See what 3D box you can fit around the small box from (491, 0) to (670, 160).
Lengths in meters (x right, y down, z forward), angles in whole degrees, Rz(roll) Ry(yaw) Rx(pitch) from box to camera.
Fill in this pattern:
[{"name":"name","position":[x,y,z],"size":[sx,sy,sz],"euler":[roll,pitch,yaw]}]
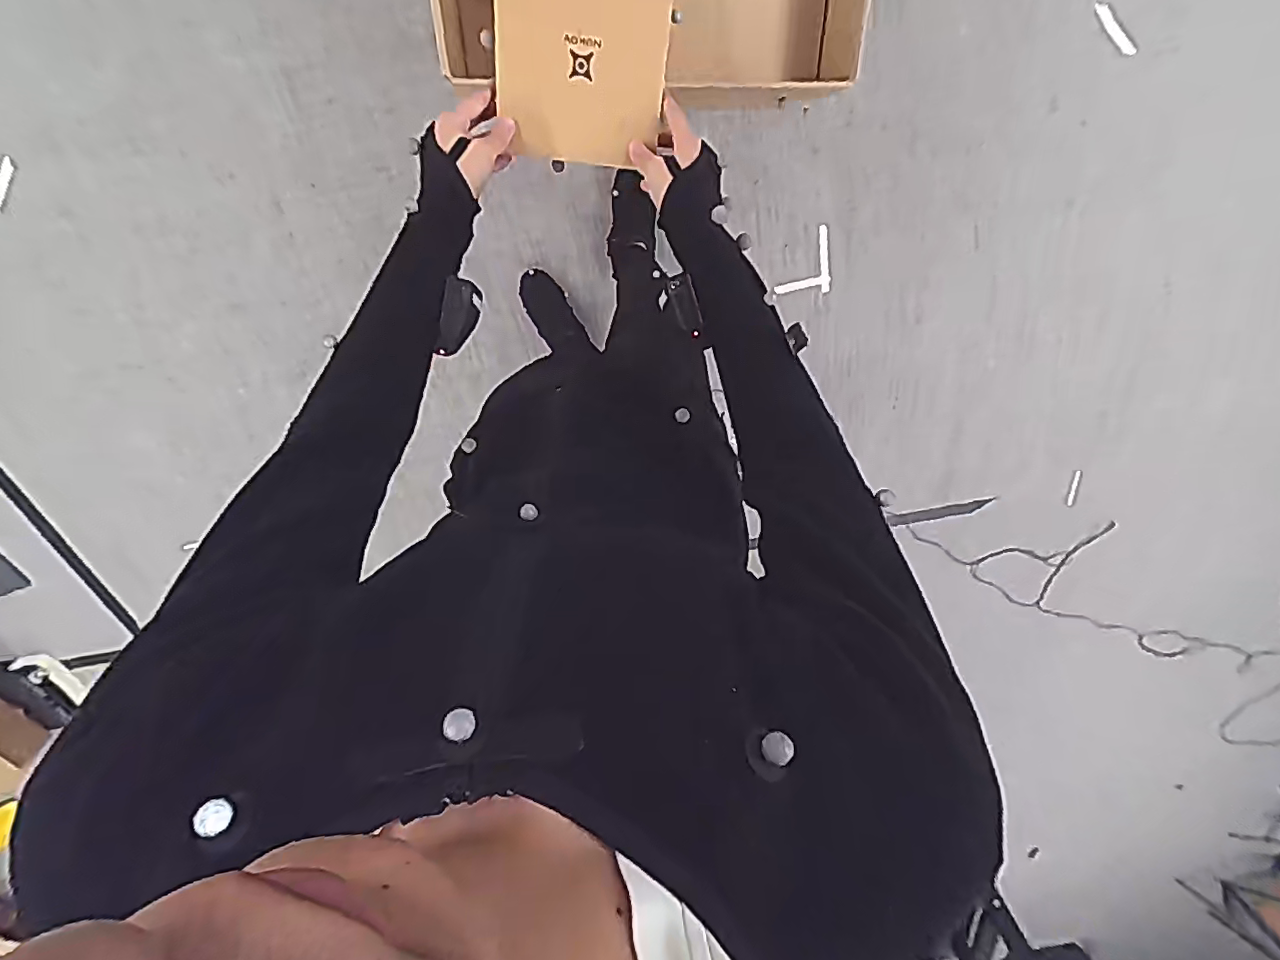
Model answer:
[{"name":"small box","position":[-0.064,-0.457,0.581],"size":[0.168,0.176,0.179],"euler":[3,122,-8]}]
